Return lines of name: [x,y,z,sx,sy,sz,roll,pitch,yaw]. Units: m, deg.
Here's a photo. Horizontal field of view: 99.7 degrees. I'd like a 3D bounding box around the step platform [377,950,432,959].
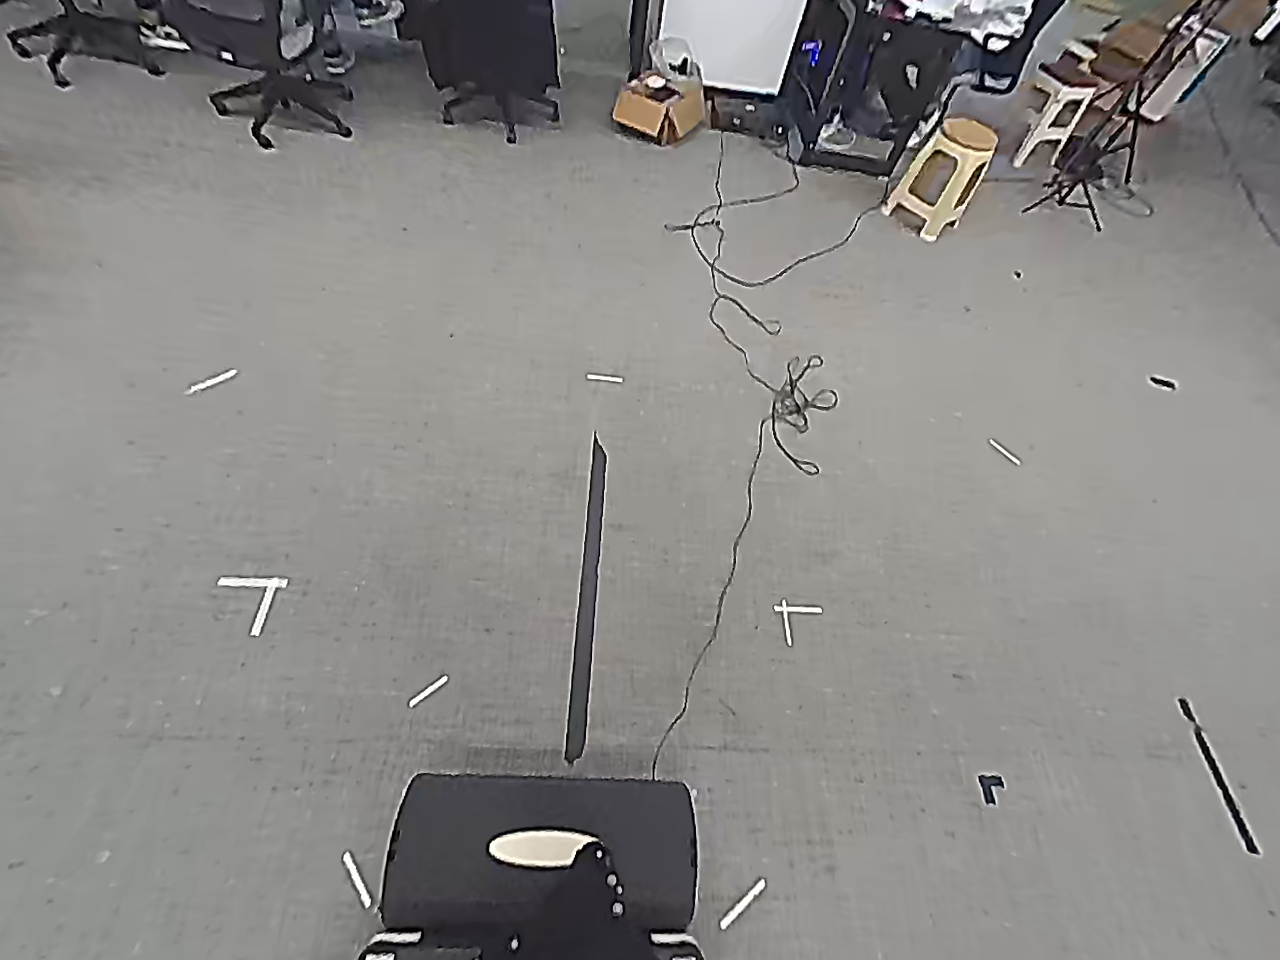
step platform: [-0.202,1.074,0.974,0.684,0.204,0.286,8,54,-2]
